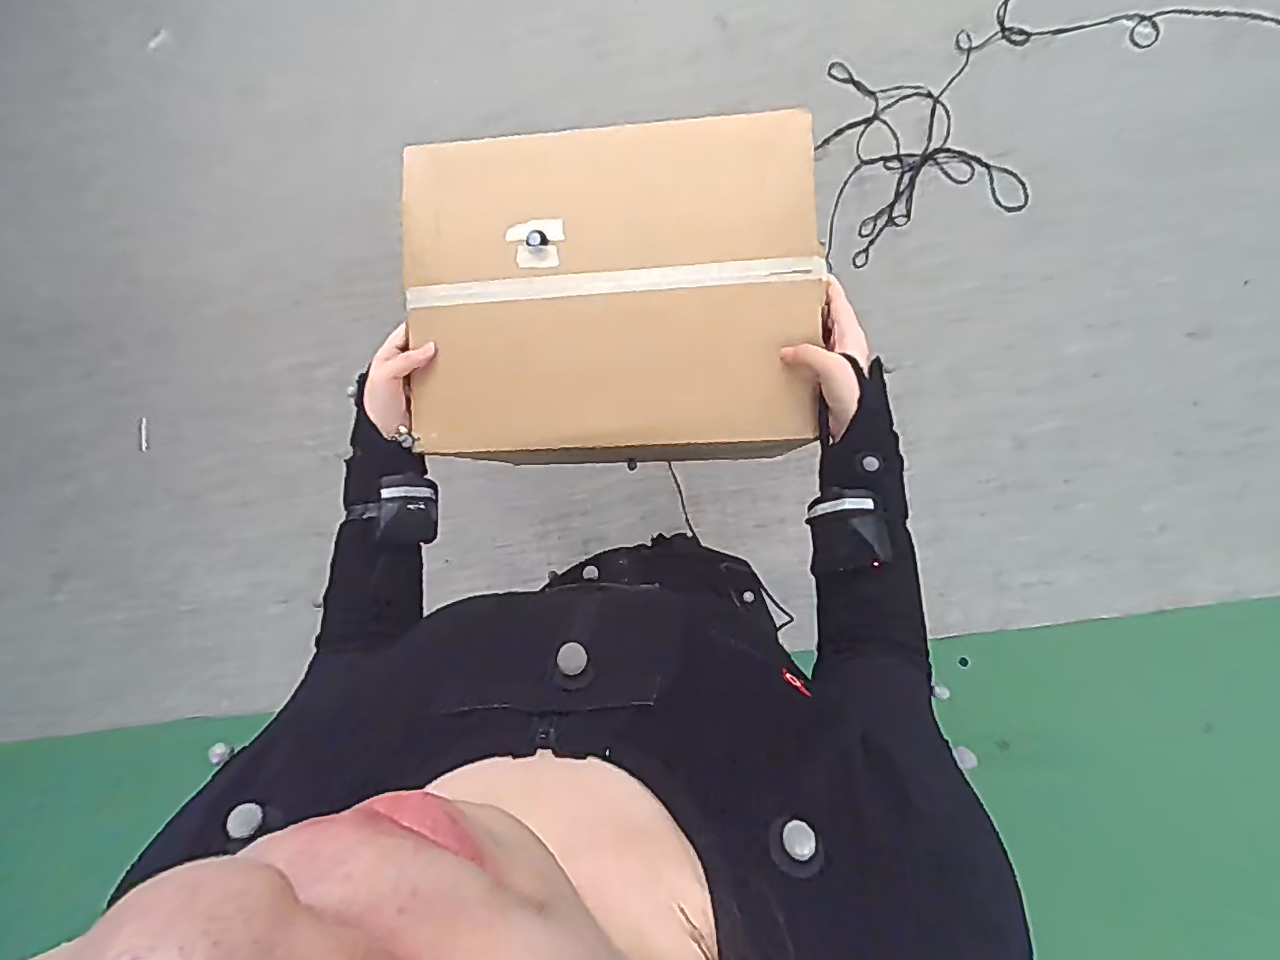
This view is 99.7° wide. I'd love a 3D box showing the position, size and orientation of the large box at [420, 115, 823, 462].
[{"bbox_3d":[-0.008,-0.189,0.687,0.408,0.320,0.320,-2,89,7],"label":"large box"}]
